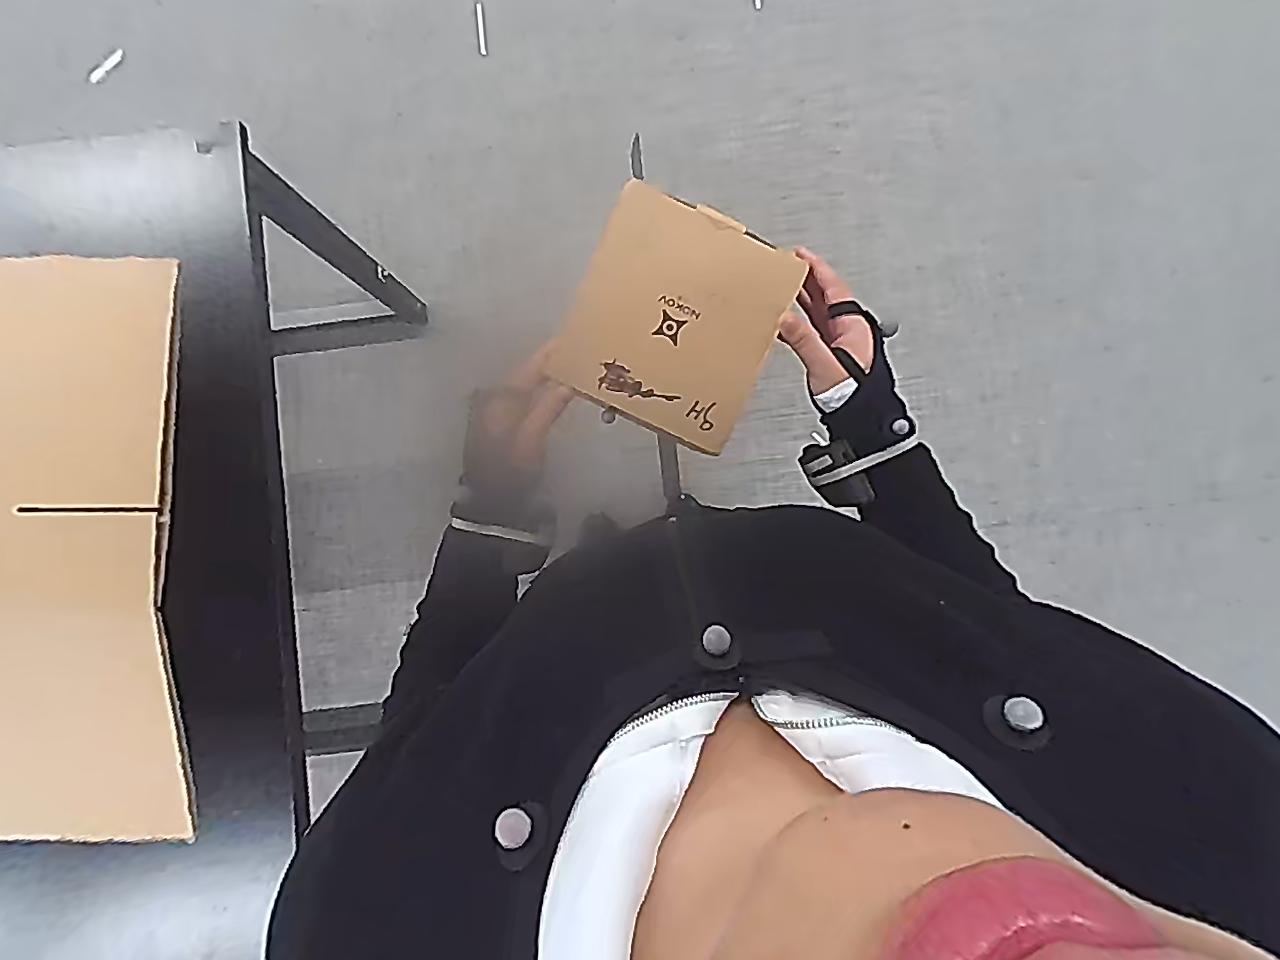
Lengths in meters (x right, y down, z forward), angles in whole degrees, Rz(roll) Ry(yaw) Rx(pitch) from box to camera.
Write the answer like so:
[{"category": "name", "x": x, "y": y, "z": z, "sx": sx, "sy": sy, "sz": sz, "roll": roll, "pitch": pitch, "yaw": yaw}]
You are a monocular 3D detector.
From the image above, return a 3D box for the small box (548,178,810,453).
[{"category": "small box", "x": 0.031, "y": -0.139, "z": 0.524, "sx": 0.168, "sy": 0.176, "sz": 0.179, "roll": 26, "pitch": 93, "yaw": 0}]
